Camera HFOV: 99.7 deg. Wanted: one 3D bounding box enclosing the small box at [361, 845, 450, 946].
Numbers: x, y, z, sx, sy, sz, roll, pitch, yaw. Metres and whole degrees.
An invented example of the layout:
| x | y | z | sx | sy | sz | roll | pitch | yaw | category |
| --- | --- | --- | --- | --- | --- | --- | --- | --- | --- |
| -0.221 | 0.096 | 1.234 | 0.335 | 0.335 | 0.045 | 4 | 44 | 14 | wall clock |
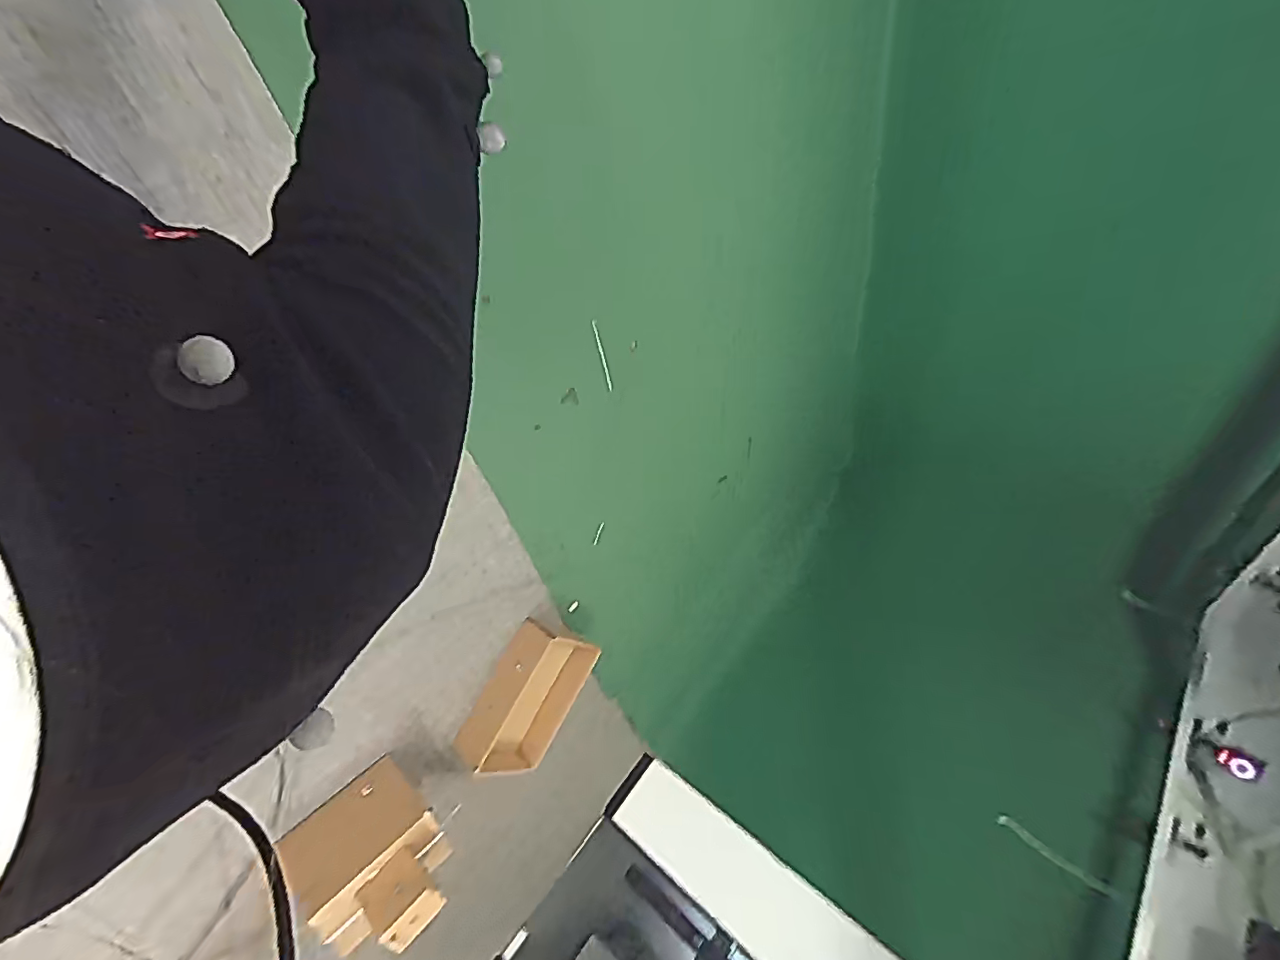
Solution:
| x | y | z | sx | sy | sz | roll | pitch | yaw | category |
| --- | --- | --- | --- | --- | --- | --- | --- | --- | --- |
| -0.749 | 1.323 | 1.730 | 0.179 | 0.176 | 0.168 | -40 | 137 | -33 | small box |
